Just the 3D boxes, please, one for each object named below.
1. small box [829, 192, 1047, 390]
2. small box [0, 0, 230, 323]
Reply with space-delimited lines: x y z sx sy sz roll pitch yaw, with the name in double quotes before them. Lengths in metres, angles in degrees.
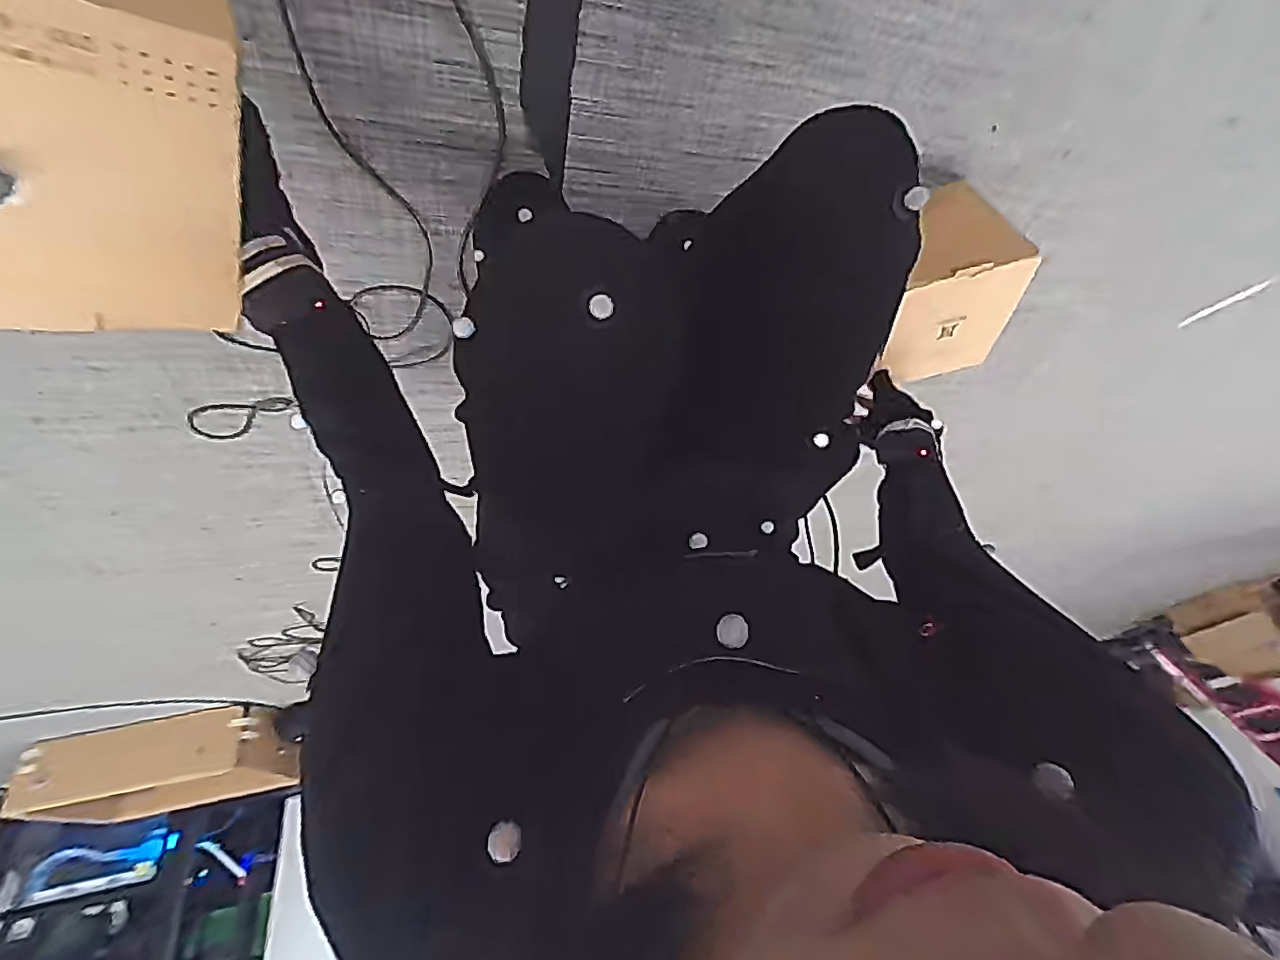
"small box" 0.368 -0.252 0.713 0.168 0.176 0.179 -13 147 -1
"small box" -0.279 -0.190 0.216 0.168 0.179 0.176 -7 158 -40
